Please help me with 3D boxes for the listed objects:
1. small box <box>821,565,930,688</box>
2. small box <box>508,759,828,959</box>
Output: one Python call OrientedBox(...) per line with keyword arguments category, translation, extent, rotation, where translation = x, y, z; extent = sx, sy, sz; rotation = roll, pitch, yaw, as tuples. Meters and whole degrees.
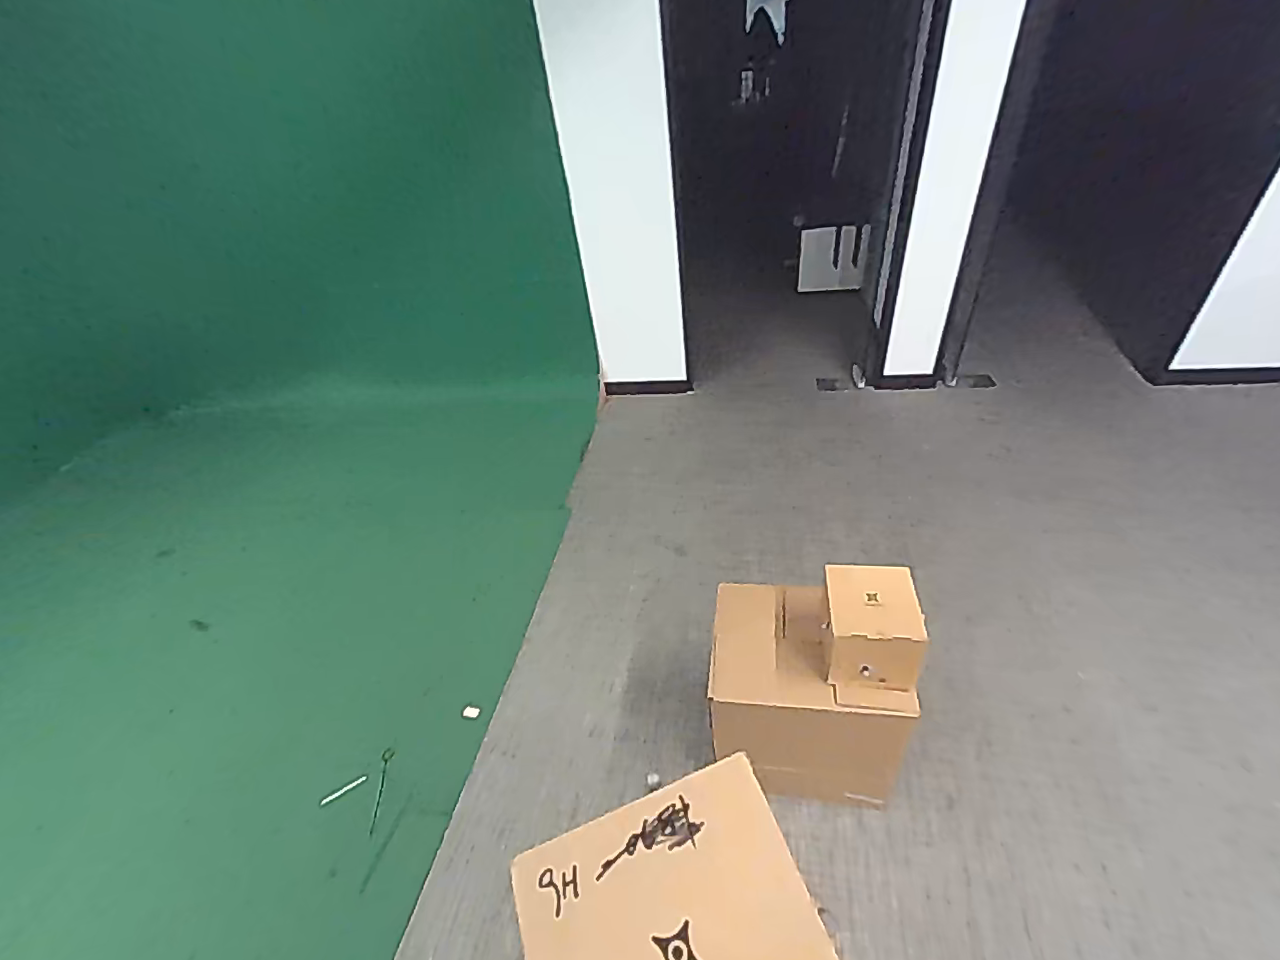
OrientedBox(category="small box", translation=(0.465, 0.294, 1.097), extent=(0.168, 0.176, 0.179), rotation=(-1, 40, 13))
OrientedBox(category="small box", translation=(0.034, 0.317, 0.364), extent=(0.168, 0.176, 0.179), rotation=(-23, 55, -5))
